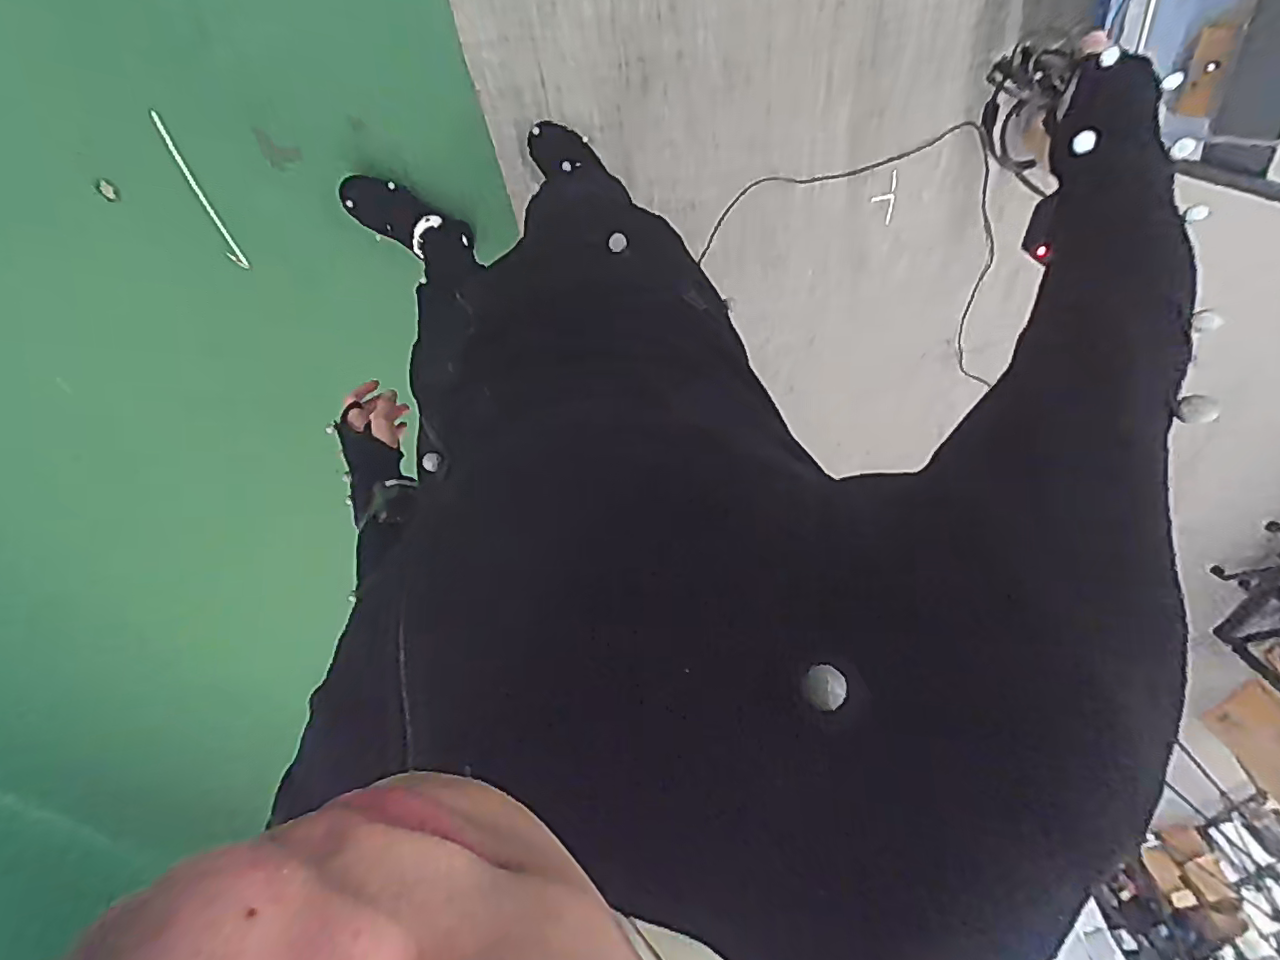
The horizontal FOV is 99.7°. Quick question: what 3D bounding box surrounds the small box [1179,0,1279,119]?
[{"bbox_3d":[1.308,-0.882,1.123,0.179,0.176,0.168,-17,131,4],"label":"small box"}]
